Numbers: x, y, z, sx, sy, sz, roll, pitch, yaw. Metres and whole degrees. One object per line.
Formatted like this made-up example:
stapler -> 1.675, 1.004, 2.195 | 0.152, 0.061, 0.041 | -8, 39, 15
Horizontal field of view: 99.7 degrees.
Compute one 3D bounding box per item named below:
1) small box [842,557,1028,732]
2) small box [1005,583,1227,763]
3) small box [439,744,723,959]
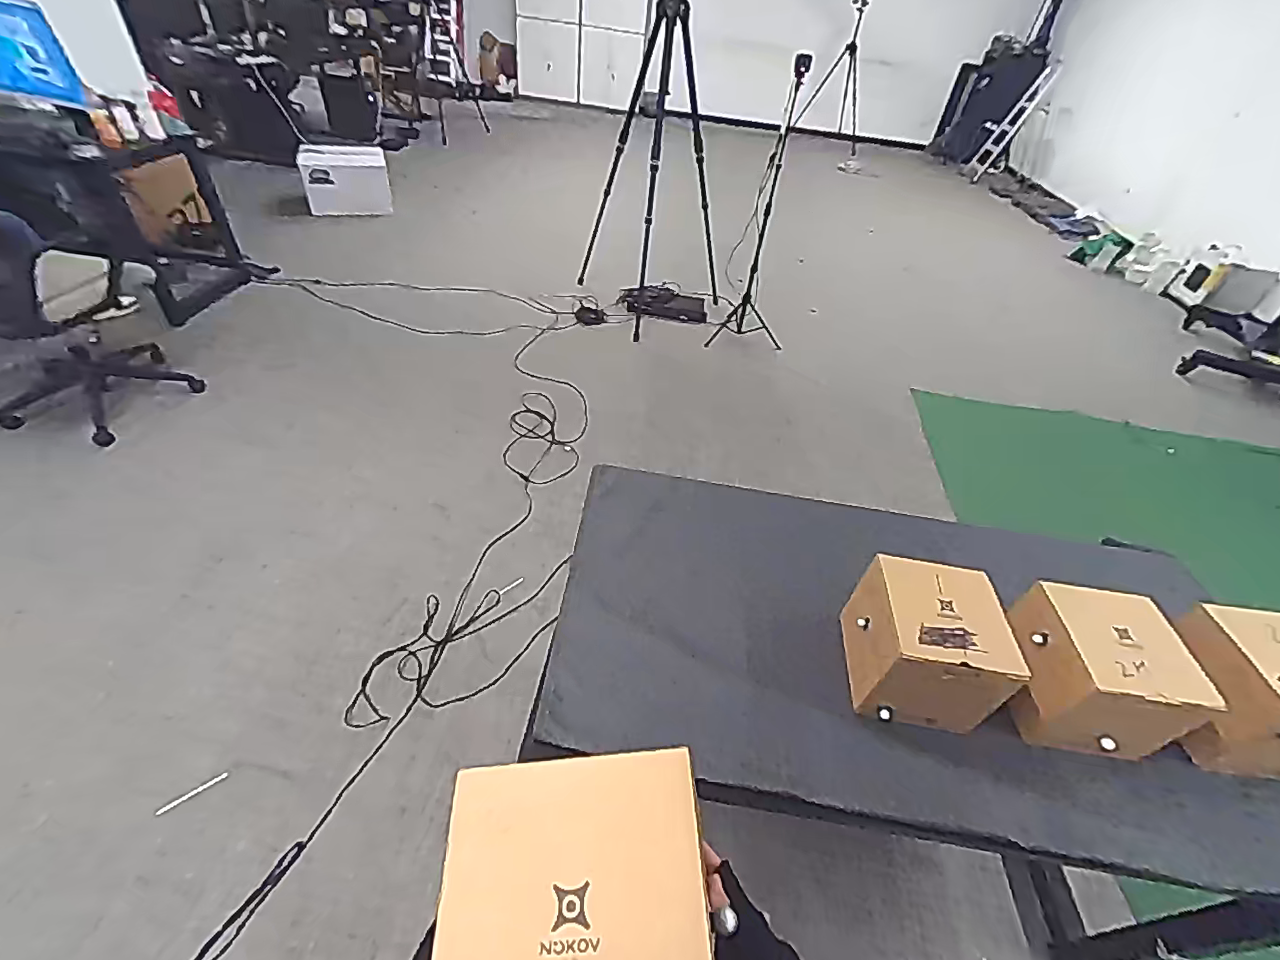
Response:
small box -> 0.415, 0.244, 0.798 | 0.168, 0.176, 0.179 | 10, 41, 2
small box -> 0.655, 0.282, 0.791 | 0.168, 0.176, 0.179 | 8, 42, 2
small box -> -0.031, 0.309, 0.384 | 0.168, 0.176, 0.179 | -6, 50, 1
